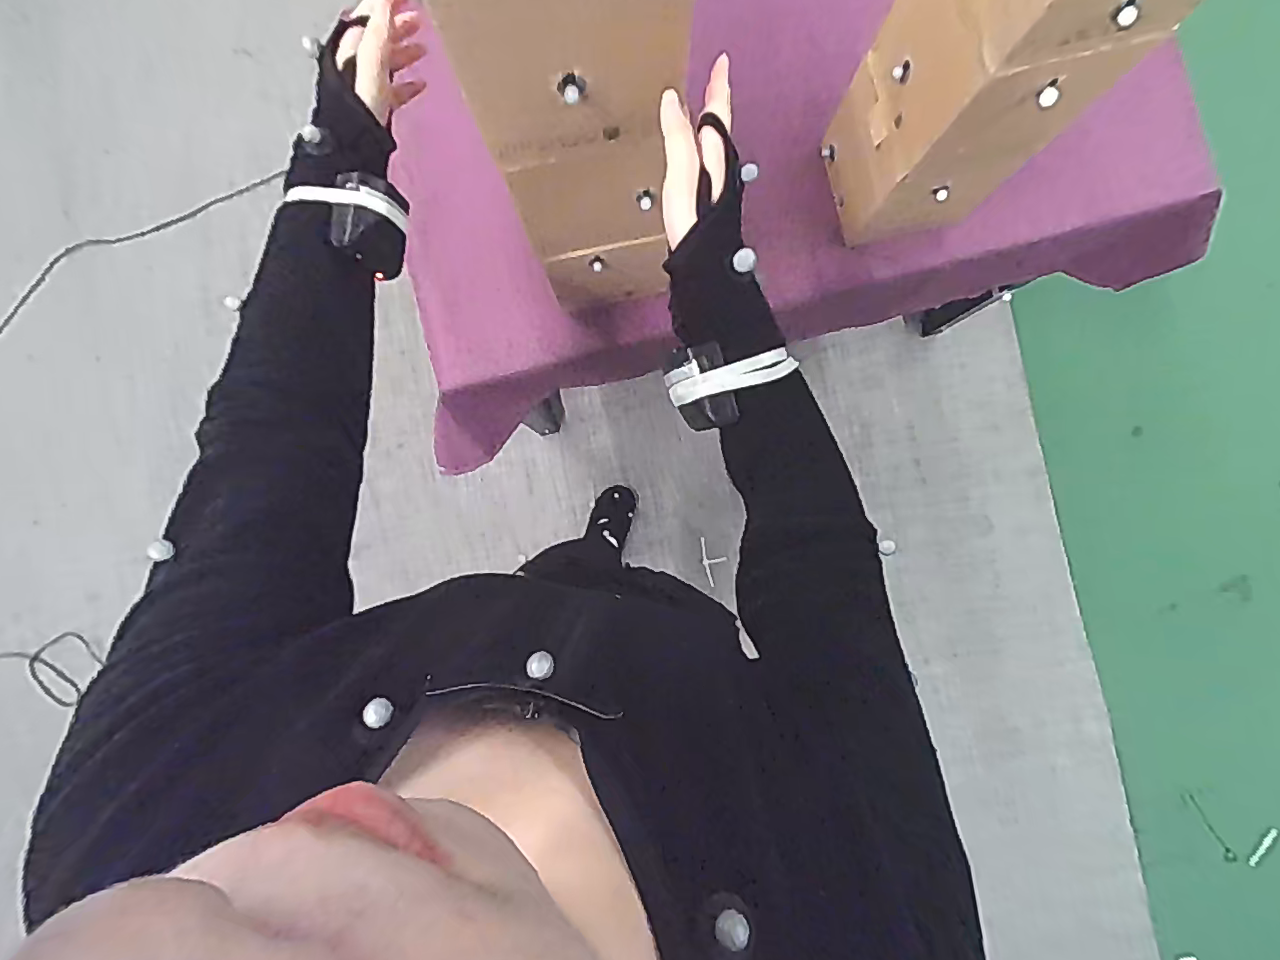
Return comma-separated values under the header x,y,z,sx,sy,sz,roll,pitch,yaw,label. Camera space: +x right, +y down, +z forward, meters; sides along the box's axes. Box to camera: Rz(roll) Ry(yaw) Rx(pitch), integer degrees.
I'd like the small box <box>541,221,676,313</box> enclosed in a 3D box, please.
x,y,z,sx,sy,sz,roll,pitch,yaw,label
-0.053,-0.349,0.725,0.168,0.176,0.179,-11,87,0,small box

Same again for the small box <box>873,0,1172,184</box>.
x,y,z,sx,sy,sz,roll,pitch,yaw,label
0.378,-0.448,0.567,0.179,0.176,0.168,-13,88,0,small box

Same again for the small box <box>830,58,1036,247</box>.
x,y,z,sx,sy,sz,roll,pitch,yaw,label
0.374,-0.441,0.730,0.179,0.176,0.168,-13,88,-1,small box

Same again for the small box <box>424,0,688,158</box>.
x,y,z,sx,sy,sz,roll,pitch,yaw,label
-0.059,-0.369,0.398,0.168,0.176,0.179,-10,87,-1,small box

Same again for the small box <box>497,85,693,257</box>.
x,y,z,sx,sy,sz,roll,pitch,yaw,label
-0.052,-0.357,0.562,0.179,0.176,0.168,-10,87,0,small box
